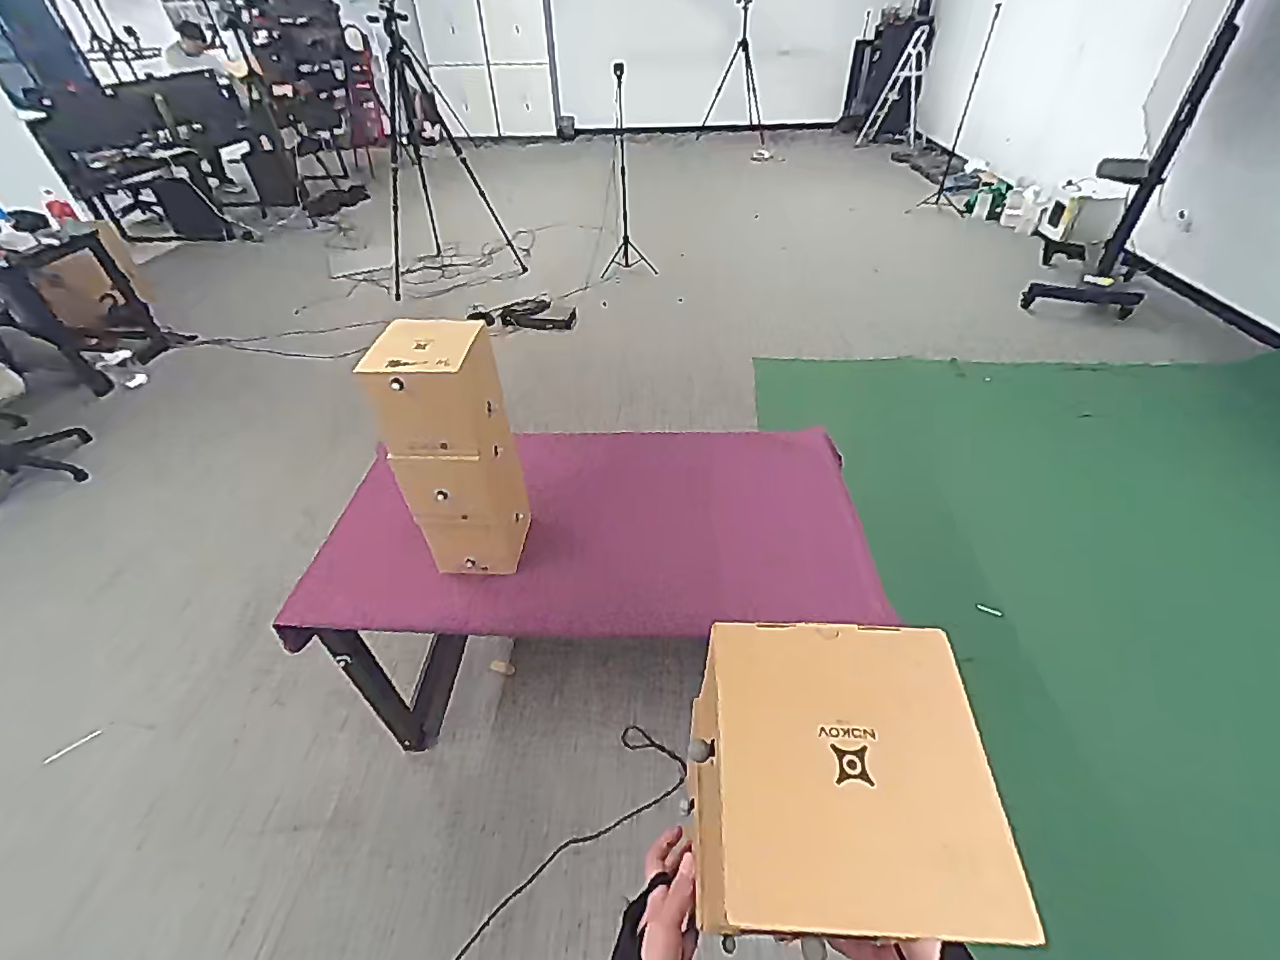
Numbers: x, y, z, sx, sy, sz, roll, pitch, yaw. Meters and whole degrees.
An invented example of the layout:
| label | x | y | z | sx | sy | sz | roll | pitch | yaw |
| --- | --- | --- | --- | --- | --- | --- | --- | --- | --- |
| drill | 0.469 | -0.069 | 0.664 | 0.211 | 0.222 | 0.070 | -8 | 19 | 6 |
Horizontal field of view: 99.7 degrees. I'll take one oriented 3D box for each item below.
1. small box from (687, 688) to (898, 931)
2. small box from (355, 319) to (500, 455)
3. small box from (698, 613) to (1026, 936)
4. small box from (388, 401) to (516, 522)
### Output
| label | x | y | z | sx | sy | sz | roll | pitch | yaw |
| --- | --- | --- | --- | --- | --- | --- | --- | --- | --- |
| small box | 0.130 | 0.319 | 0.524 | 0.168 | 0.176 | 0.179 | 0 | 50 | 3 |
| small box | -0.350 | -0.163 | 0.937 | 0.168 | 0.176 | 0.179 | 0 | 42 | 3 |
| small box | 0.130 | 0.216 | 0.399 | 0.168 | 0.176 | 0.179 | 0 | 50 | 4 |
| small box | -0.347 | -0.036 | 1.041 | 0.168 | 0.176 | 0.179 | 2 | 42 | 4 |
